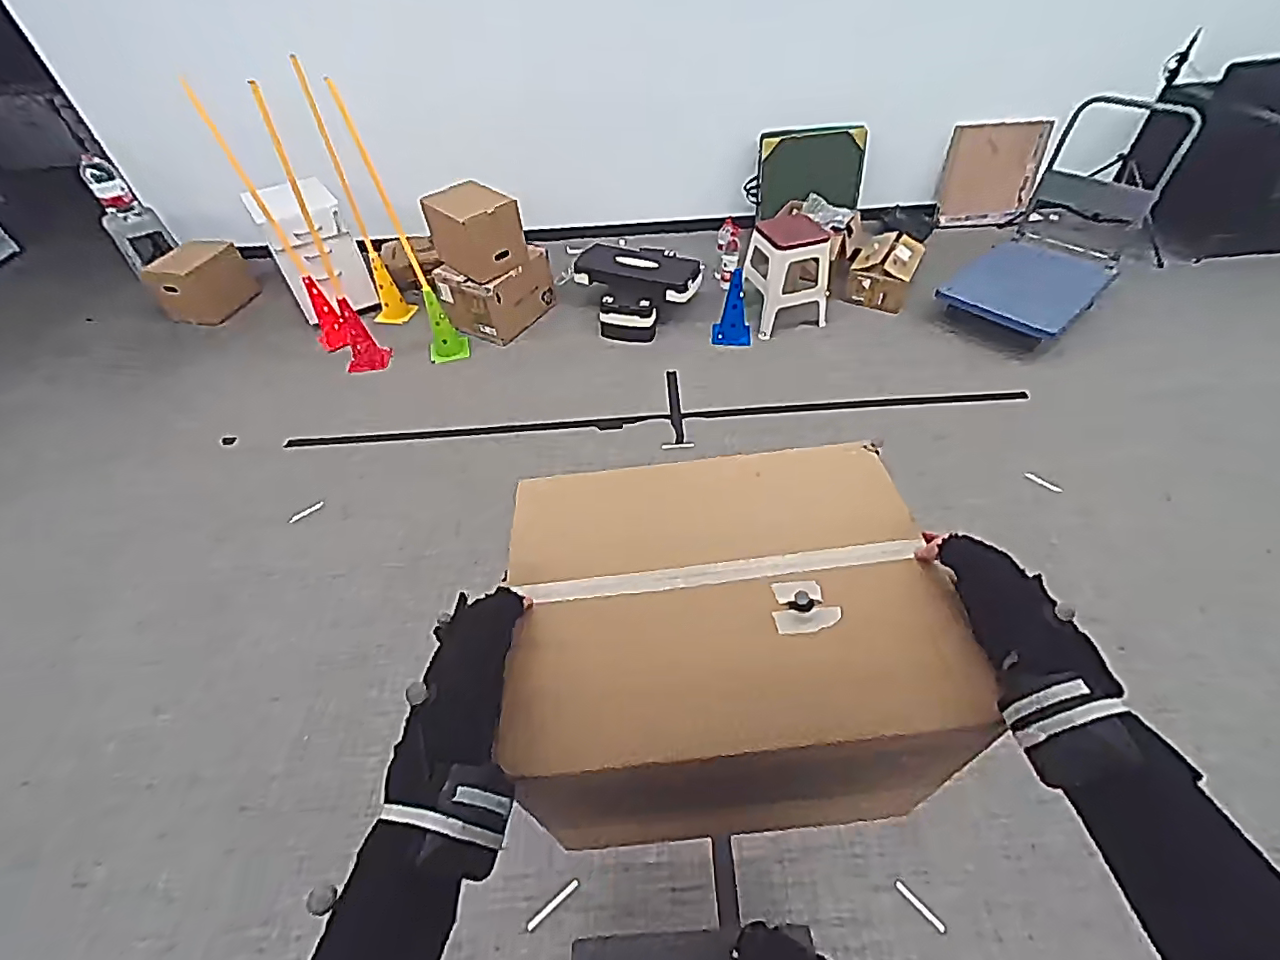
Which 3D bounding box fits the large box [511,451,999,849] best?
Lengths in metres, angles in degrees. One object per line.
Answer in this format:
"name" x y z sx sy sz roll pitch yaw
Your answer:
"large box" 0.090 0.202 0.637 0.408 0.320 0.320 -7 47 0
